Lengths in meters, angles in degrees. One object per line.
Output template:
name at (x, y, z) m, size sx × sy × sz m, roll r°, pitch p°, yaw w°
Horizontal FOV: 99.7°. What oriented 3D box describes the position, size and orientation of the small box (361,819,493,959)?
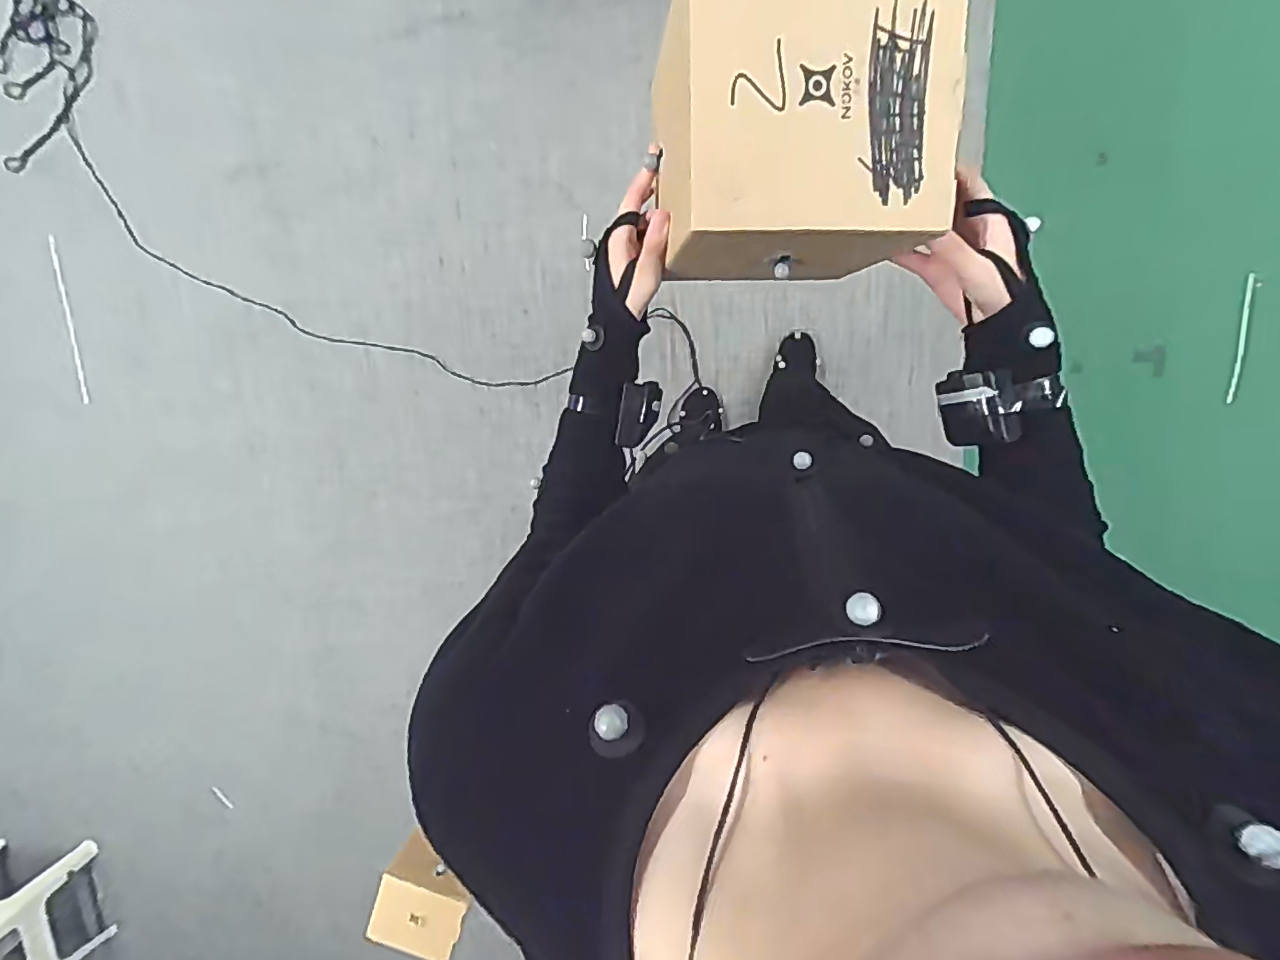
small box at (-0.430, 0.845, 1.114) m, size 0.179 × 0.176 × 0.168 m, roll 20°, pitch 101°, yaw 1°
